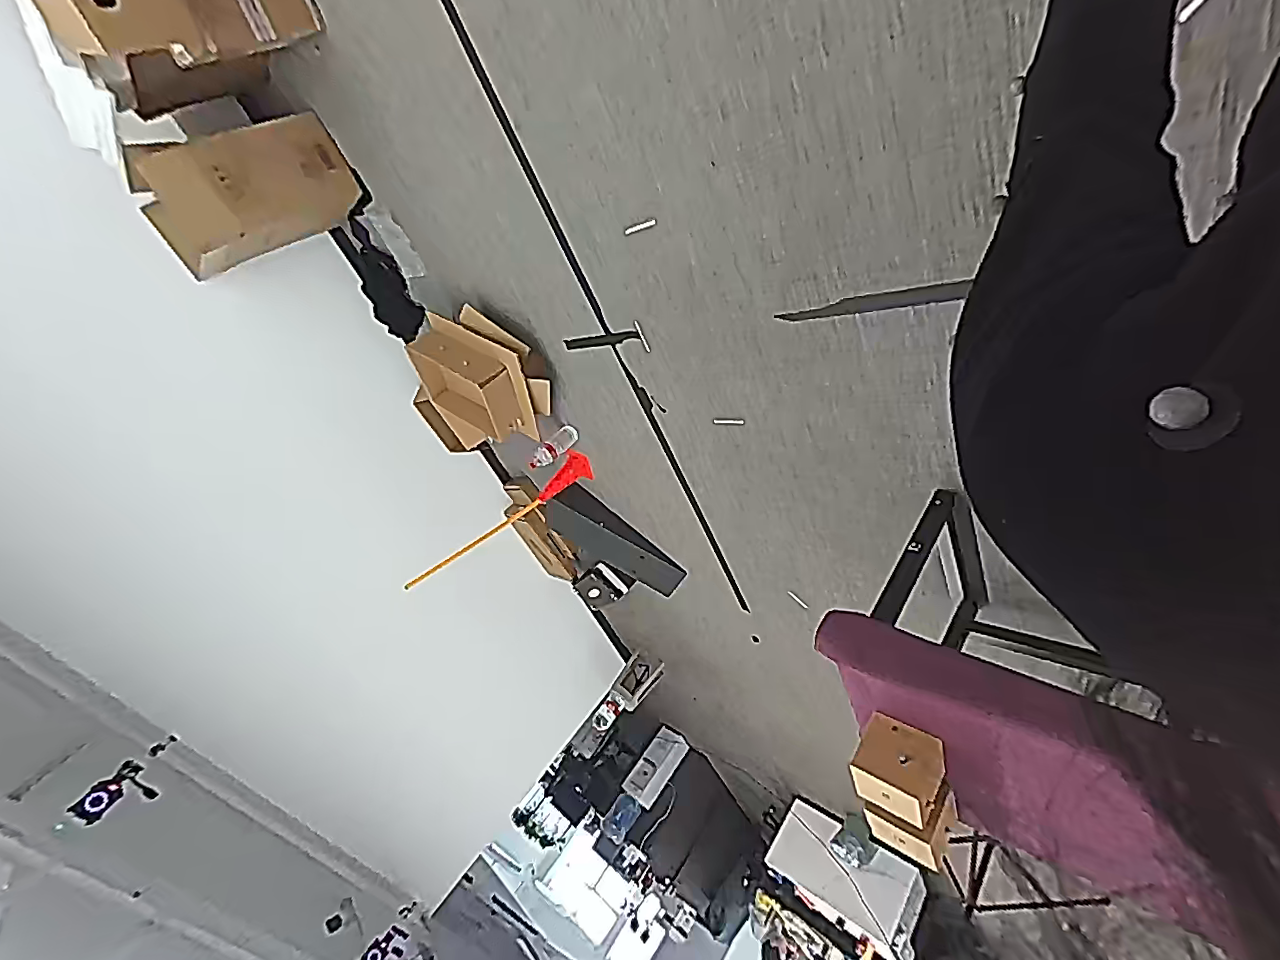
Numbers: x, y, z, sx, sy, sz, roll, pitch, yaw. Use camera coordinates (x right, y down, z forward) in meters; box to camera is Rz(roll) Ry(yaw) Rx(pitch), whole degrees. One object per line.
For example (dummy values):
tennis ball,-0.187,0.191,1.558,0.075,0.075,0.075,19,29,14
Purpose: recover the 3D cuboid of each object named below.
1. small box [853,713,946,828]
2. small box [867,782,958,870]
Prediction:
small box,0.669,0.735,1.386,0.168,0.176,0.179,12,138,43
small box,0.756,0.912,1.490,0.179,0.176,0.168,10,135,47
